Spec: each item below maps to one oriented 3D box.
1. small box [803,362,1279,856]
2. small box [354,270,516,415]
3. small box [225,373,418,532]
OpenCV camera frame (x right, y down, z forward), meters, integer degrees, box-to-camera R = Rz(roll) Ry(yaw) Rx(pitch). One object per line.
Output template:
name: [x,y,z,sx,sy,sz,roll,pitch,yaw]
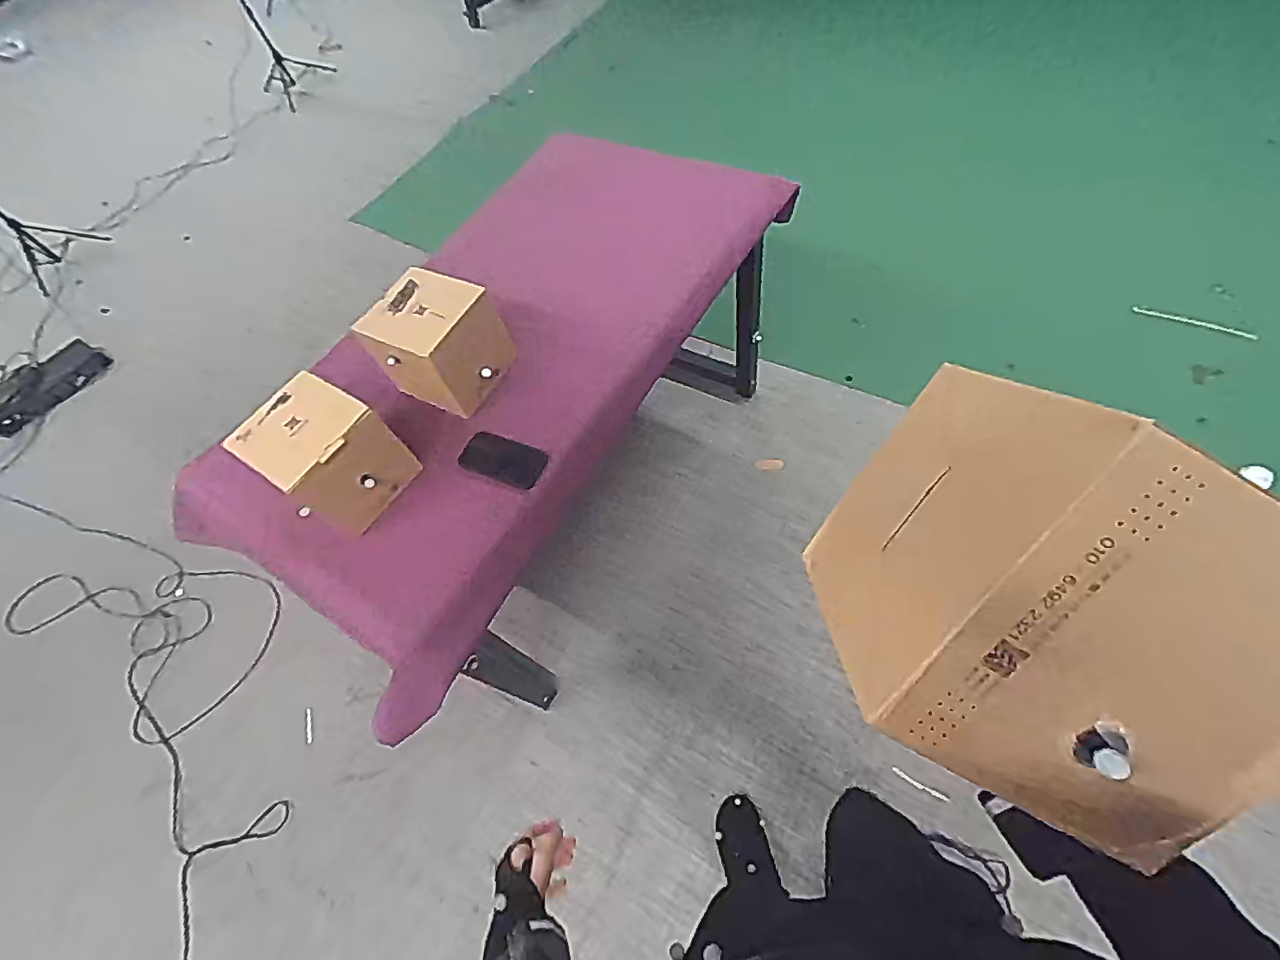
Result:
small box: [0.216,0.049,0.308,0.176,0.179,0.168,30,108,-3]
small box: [-0.358,-0.243,0.974,0.179,0.176,0.168,22,66,20]
small box: [-0.502,-0.037,0.880,0.179,0.176,0.168,27,68,22]
